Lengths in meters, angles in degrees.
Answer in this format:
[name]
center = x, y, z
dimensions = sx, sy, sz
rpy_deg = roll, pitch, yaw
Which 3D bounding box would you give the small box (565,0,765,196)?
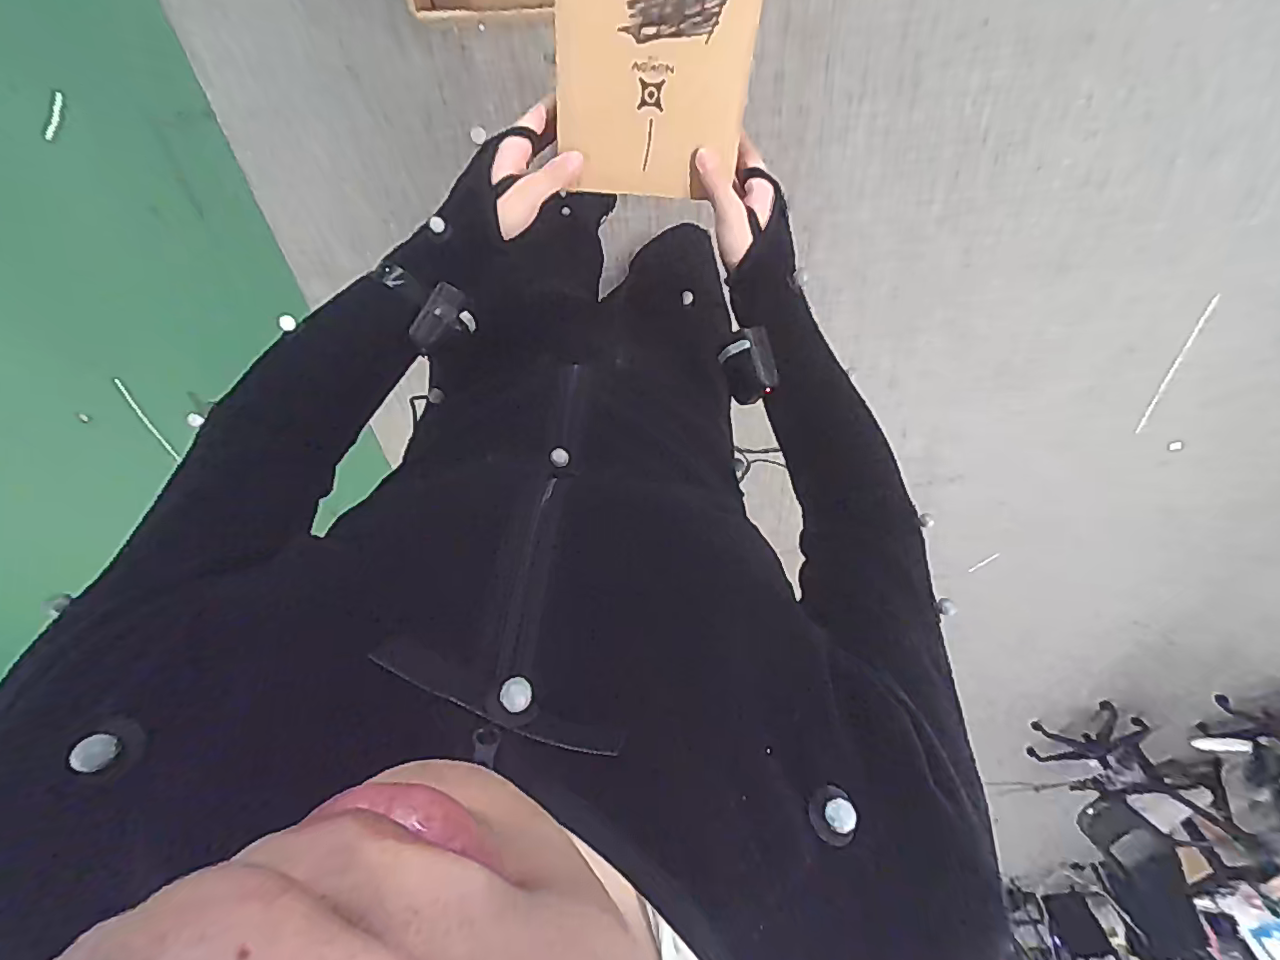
[small box]
center = 0.012, -0.395, 0.530
dimensions = 0.168, 0.176, 0.179
rpy_deg = 2, 127, -4
